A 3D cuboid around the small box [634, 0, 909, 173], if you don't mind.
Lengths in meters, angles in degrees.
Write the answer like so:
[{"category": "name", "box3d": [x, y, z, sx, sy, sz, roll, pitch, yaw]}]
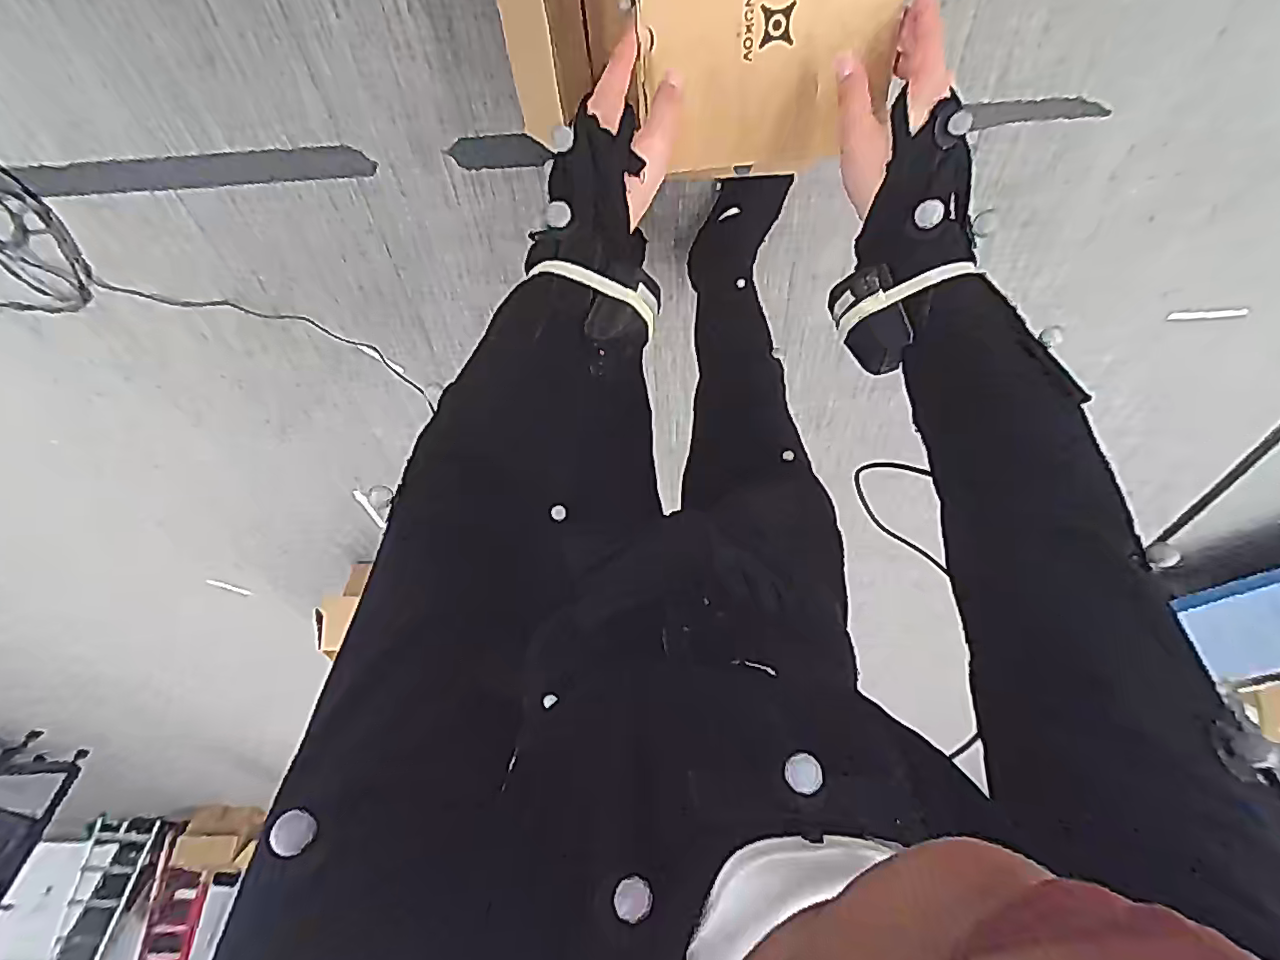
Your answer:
[{"category": "small box", "box3d": [0.085, -0.355, 0.408, 0.179, 0.176, 0.168, -4, 135, 4]}]
